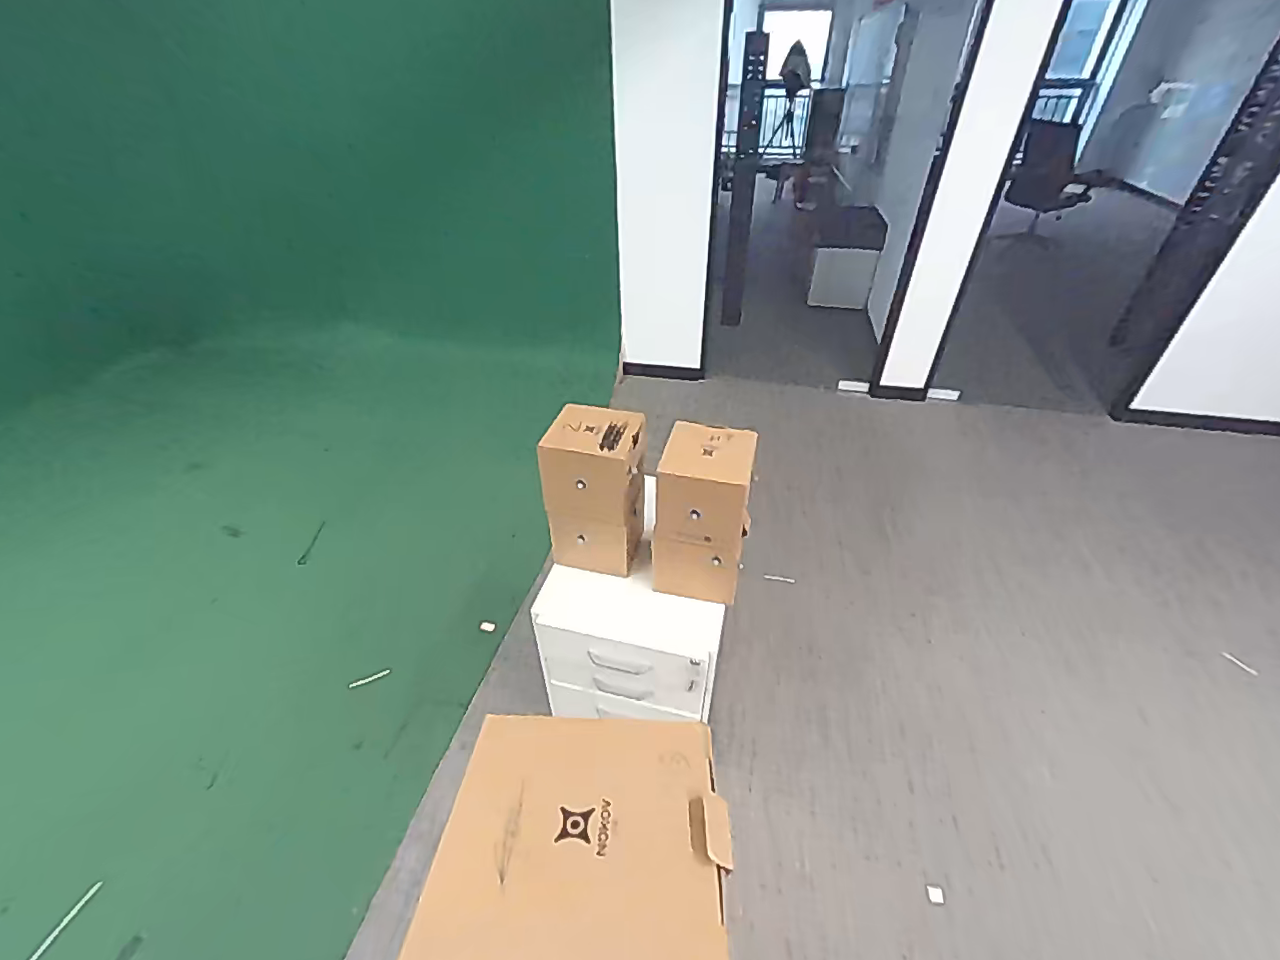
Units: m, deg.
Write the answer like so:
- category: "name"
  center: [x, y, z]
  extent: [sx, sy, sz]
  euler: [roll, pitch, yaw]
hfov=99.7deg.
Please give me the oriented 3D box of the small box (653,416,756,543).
- category: "small box"
  center: [0.127, 0.000, 1.059]
  extent: [0.168, 0.176, 0.179]
  euler: [10, 40, 12]

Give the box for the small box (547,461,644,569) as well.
- category: "small box"
  center: [-0.094, 0.081, 1.223]
  extent: [0.179, 0.176, 0.168]
  euler: [10, 41, 10]

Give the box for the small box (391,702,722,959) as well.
- category: "small box"
  center: [-0.040, 0.285, 0.385]
  extent: [0.179, 0.176, 0.168]
  euler: [-1, 25, 3]
